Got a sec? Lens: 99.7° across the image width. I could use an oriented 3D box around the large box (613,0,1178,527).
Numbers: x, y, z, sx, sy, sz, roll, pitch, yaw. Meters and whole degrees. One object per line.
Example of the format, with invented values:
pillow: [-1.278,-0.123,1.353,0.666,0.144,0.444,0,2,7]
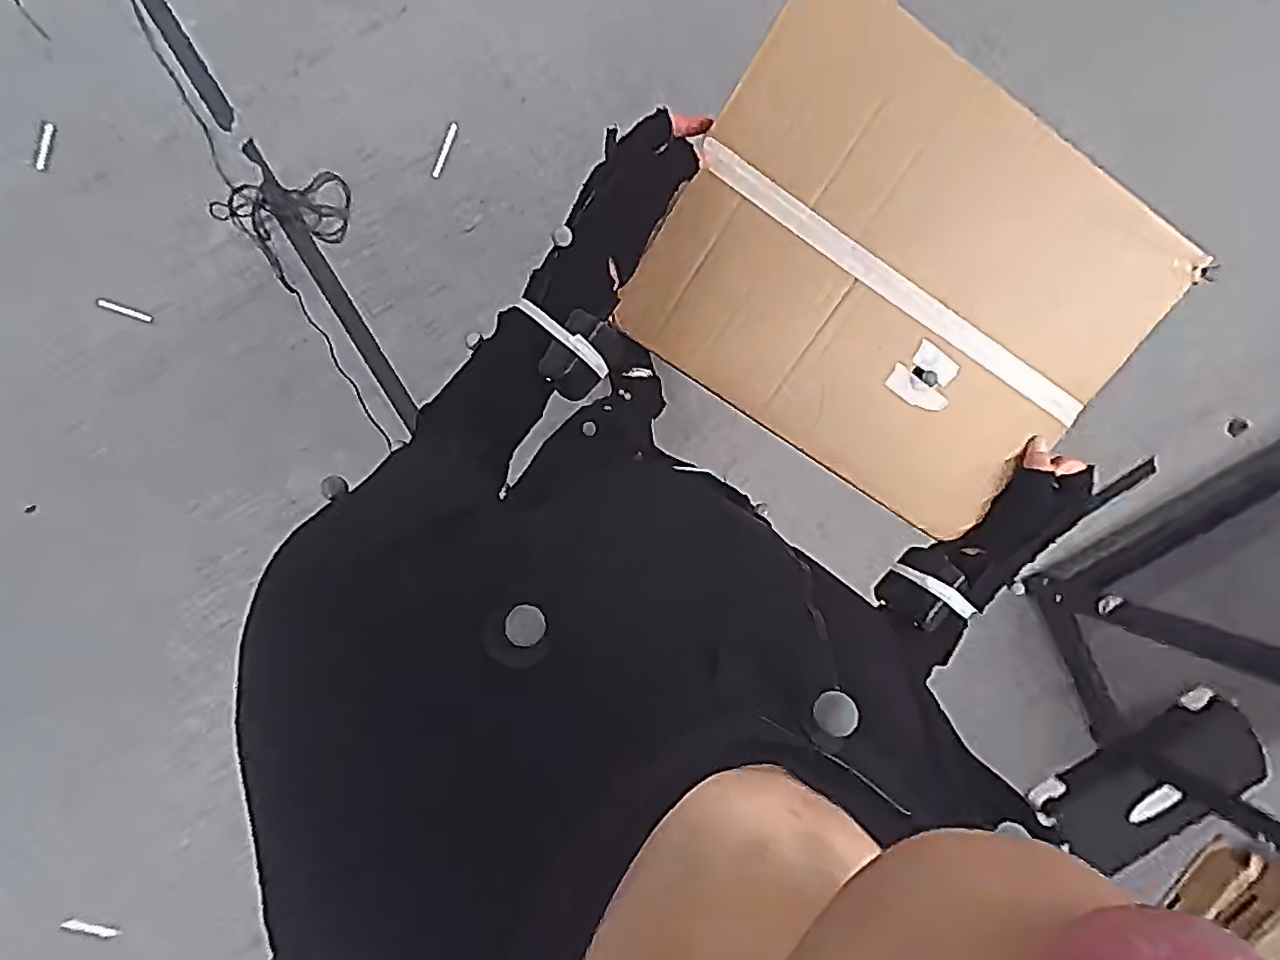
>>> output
large box: [0.221,-0.216,0.620,0.408,0.320,0.320,32,106,-8]
